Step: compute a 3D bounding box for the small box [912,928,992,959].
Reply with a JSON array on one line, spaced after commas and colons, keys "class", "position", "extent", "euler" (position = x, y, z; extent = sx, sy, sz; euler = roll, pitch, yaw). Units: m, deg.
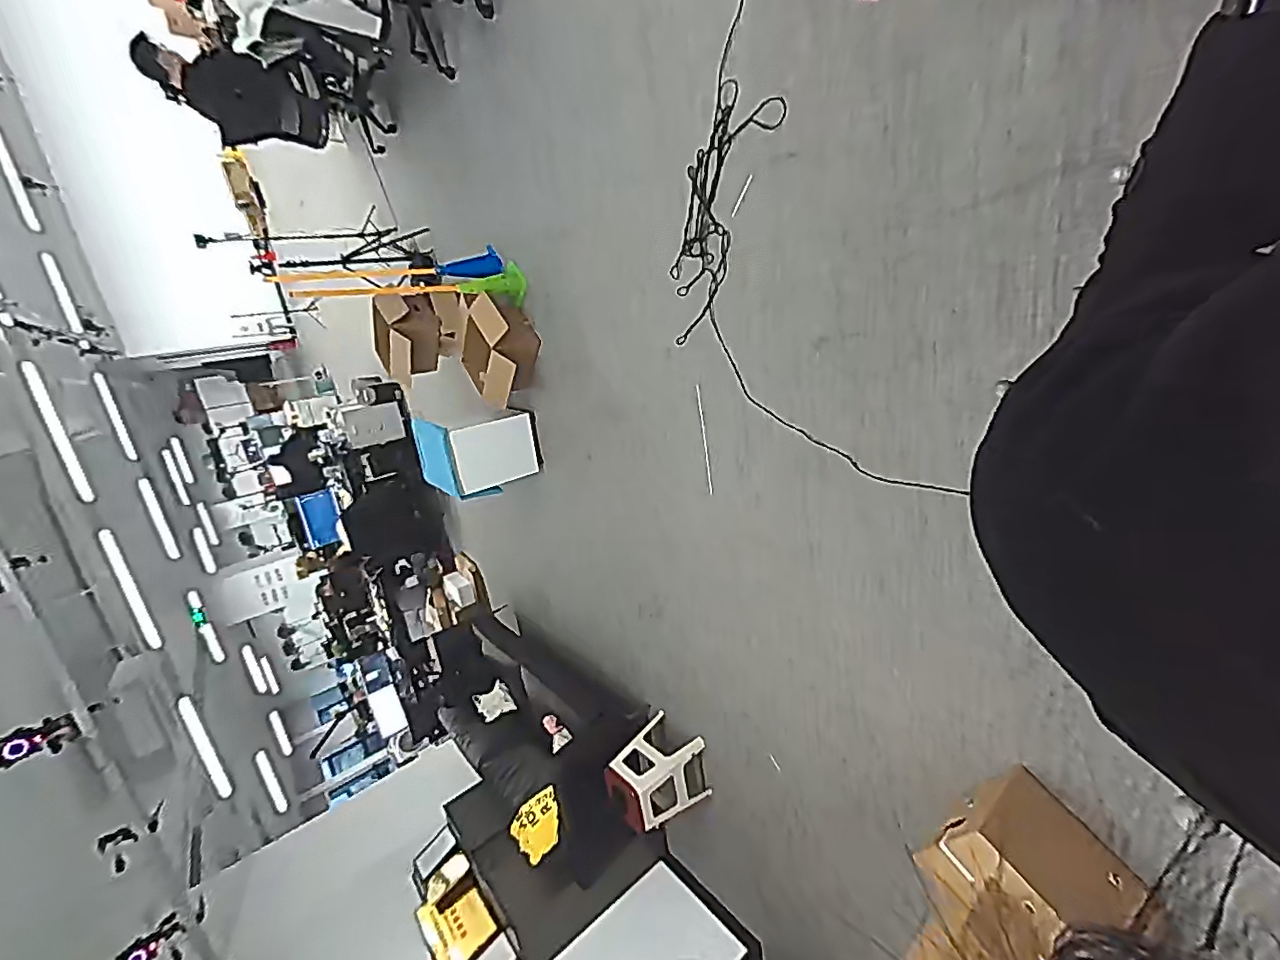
[{"class": "small box", "position": [0.765, 1.227, 1.302], "extent": [0.168, 0.176, 0.179], "euler": [48, 142, 29]}]
